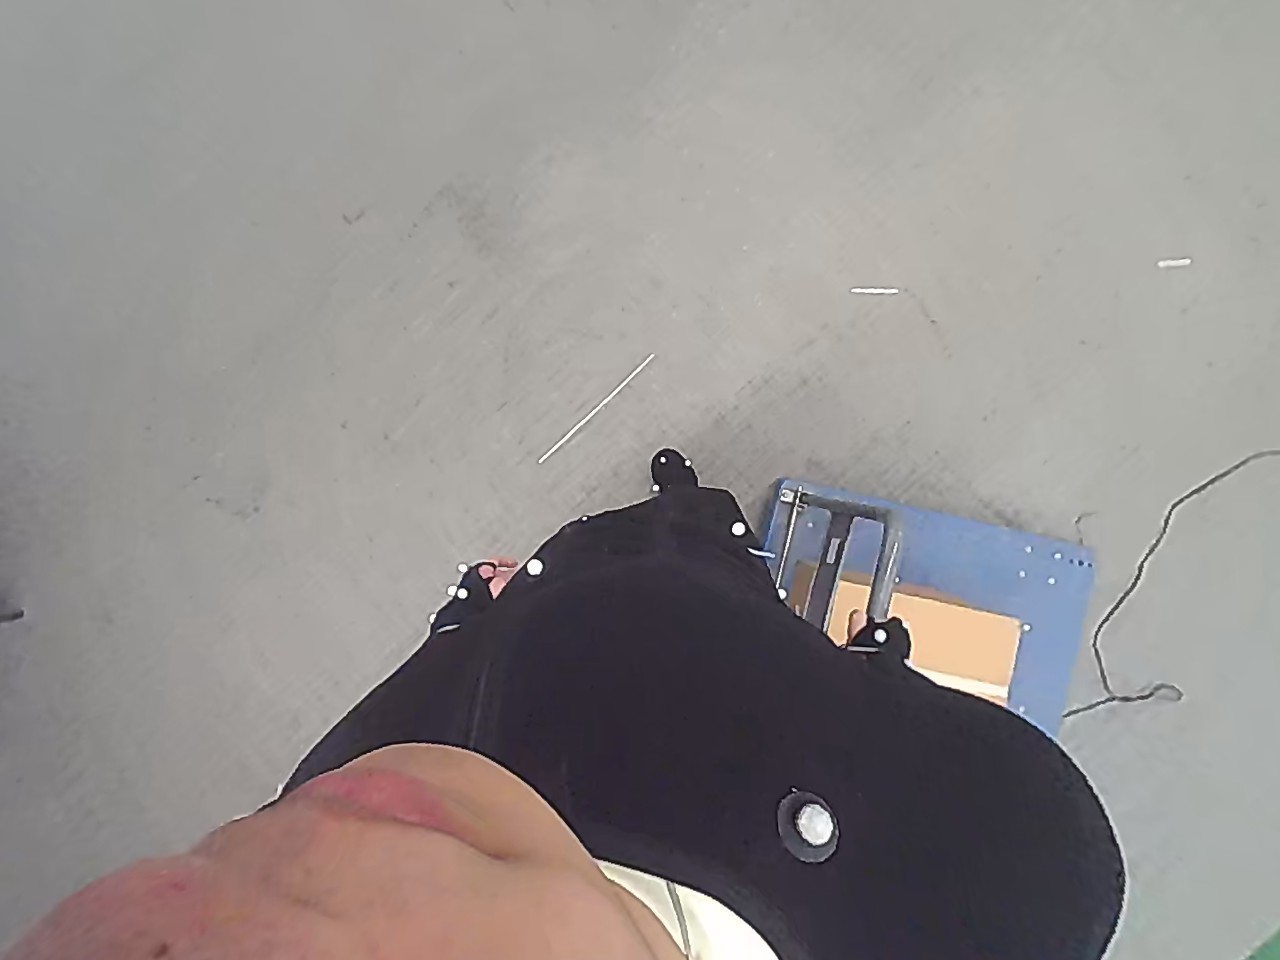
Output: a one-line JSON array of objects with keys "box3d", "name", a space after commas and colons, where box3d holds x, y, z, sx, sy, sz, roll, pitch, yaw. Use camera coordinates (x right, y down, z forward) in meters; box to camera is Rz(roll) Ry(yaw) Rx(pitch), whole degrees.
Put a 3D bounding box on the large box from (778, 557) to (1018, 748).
[{"box3d": [0.588, 0.390, 1.310, 0.408, 0.320, 0.320, 12, 91, 0], "name": "large box"}]
